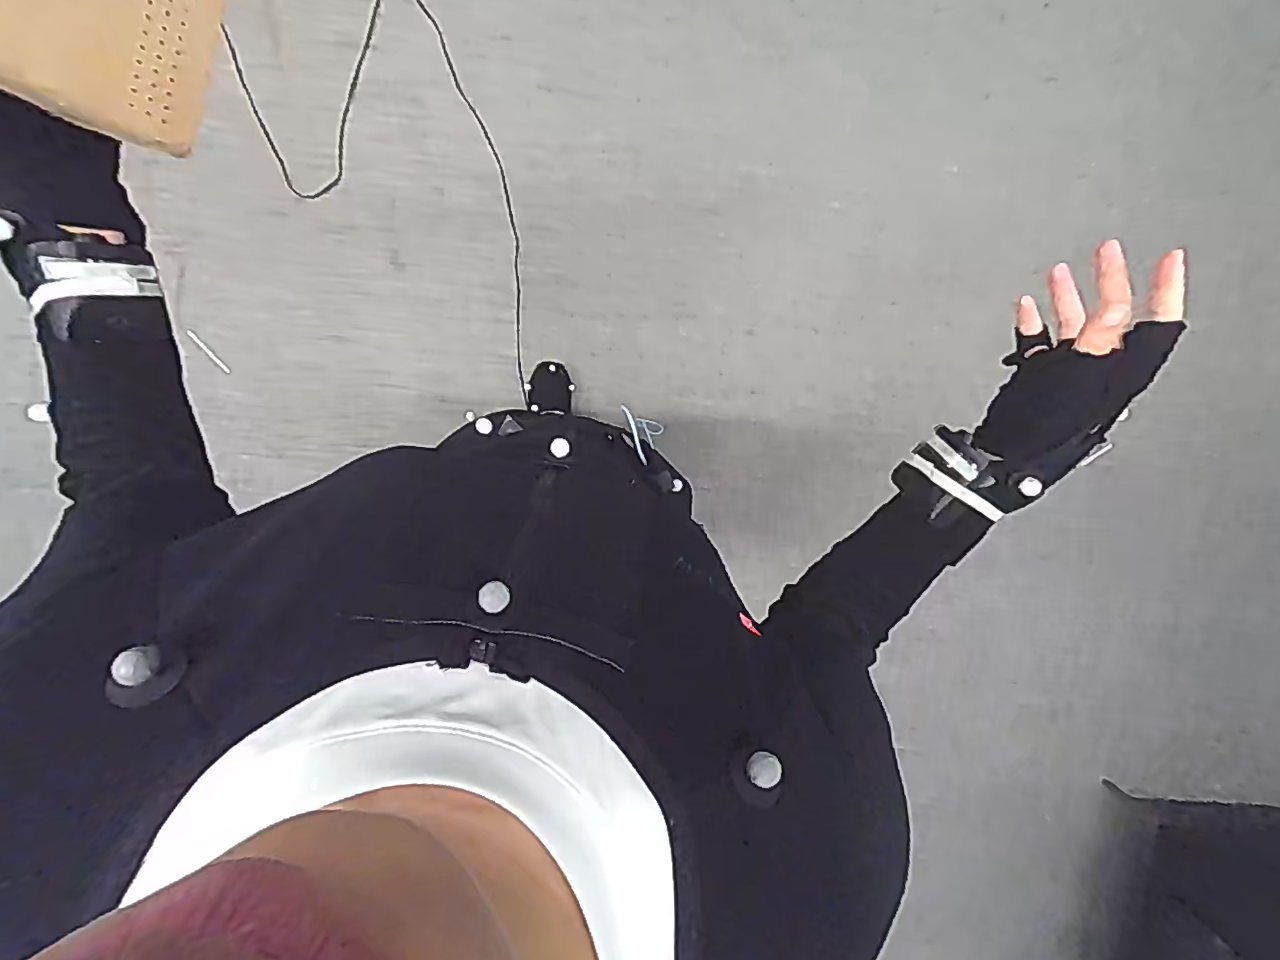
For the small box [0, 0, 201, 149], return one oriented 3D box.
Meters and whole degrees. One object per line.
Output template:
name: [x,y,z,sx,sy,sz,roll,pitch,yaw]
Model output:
small box: [-0.296,-0.271,0.204,0.168,0.176,0.179,25,100,18]
